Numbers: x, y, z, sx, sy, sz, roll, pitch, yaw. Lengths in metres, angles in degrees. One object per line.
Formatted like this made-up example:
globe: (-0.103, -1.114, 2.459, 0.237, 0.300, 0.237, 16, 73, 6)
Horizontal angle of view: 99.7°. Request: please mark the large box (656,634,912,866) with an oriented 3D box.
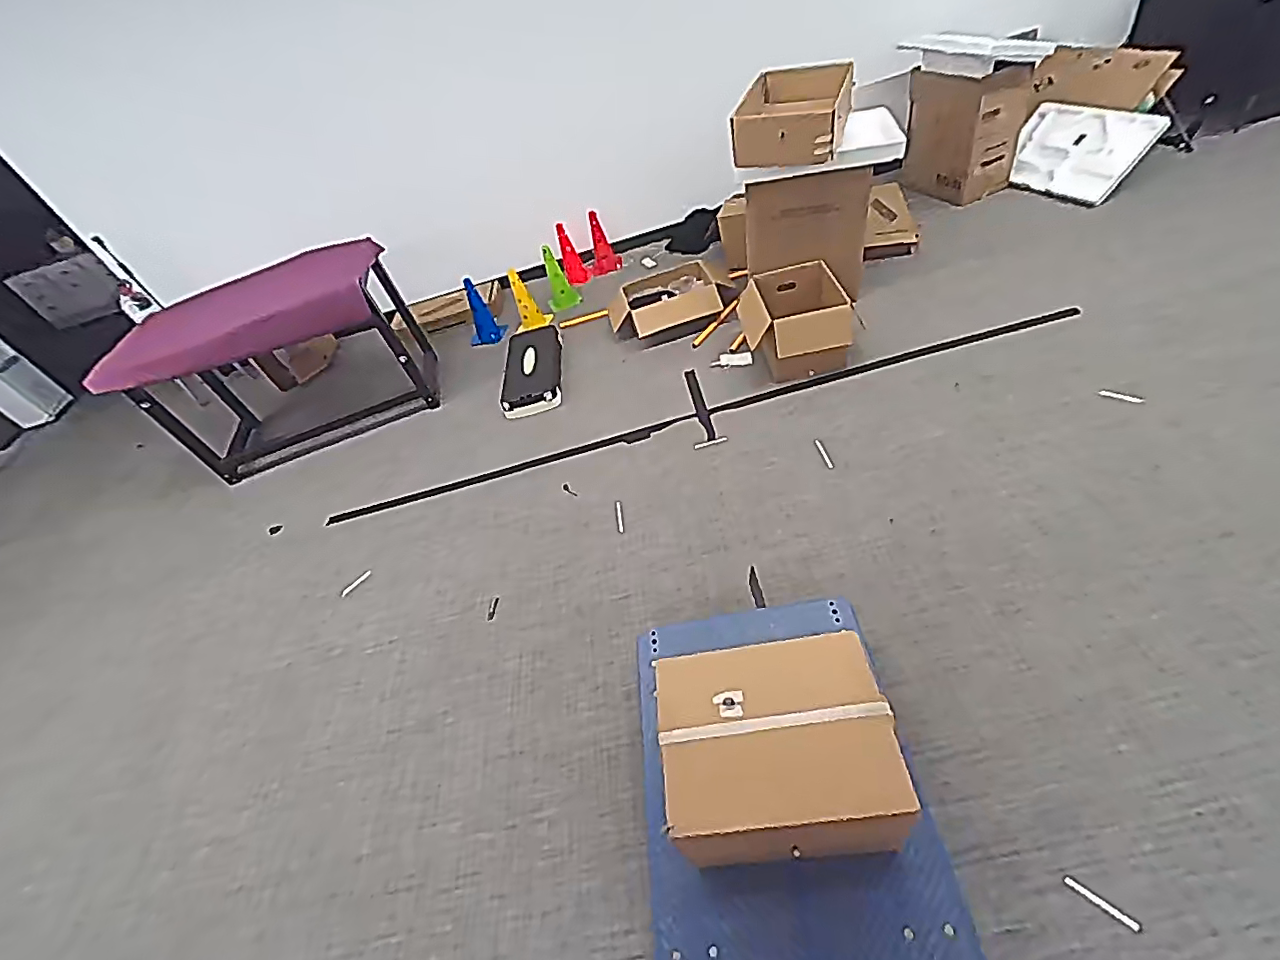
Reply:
large box: (0.272, 0.554, 1.094, 0.408, 0.320, 0.320, -12, 44, 8)
